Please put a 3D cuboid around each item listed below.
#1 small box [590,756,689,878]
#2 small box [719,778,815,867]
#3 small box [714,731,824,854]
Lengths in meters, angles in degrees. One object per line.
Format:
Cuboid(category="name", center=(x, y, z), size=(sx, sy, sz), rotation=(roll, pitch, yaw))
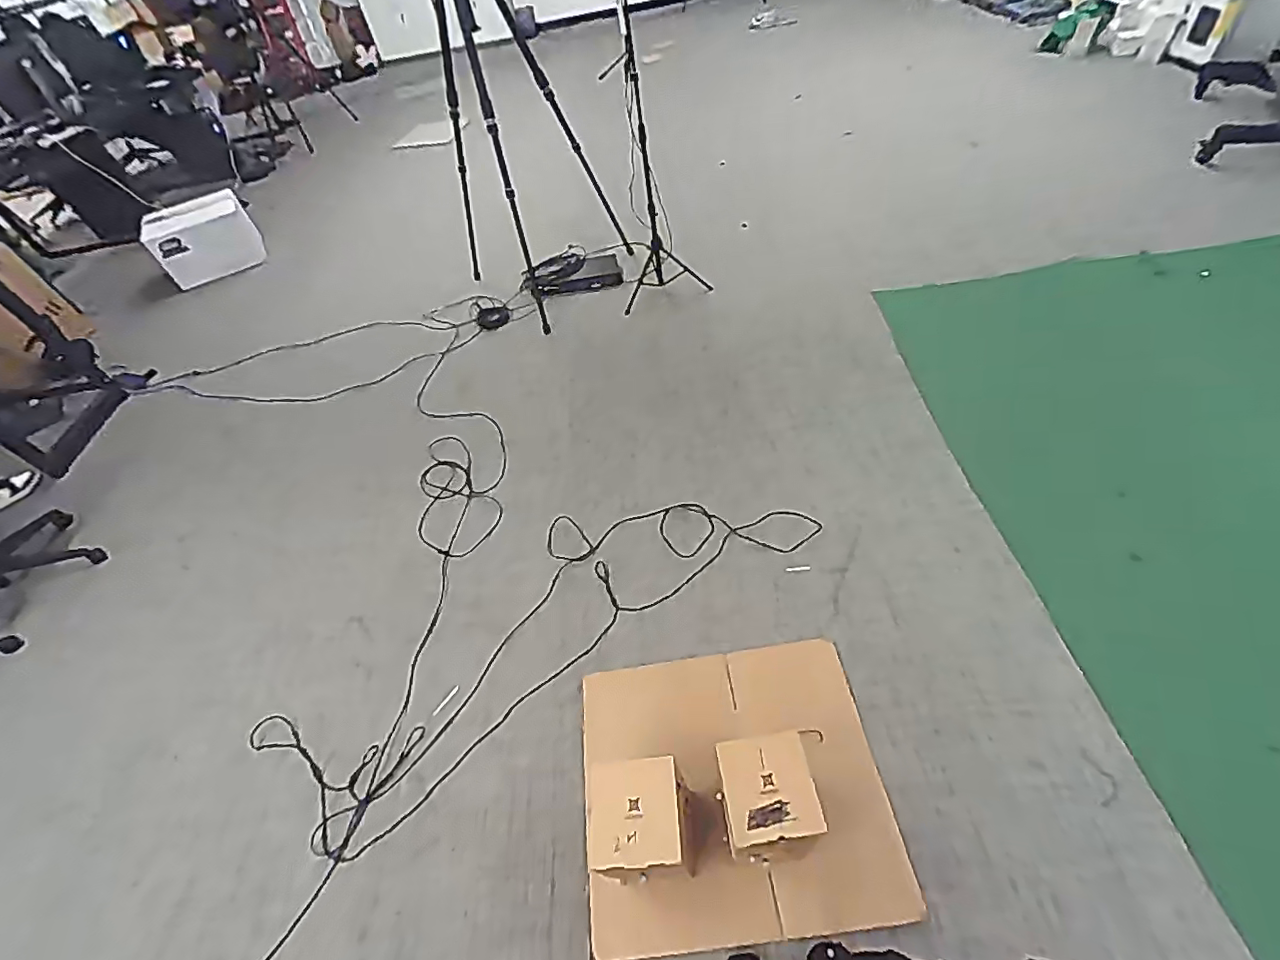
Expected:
Cuboid(category="small box", center=(0.001, 0.661, 1.057), size=(0.168, 0.176, 0.179), rotation=(-8, 50, 5))
Cuboid(category="small box", center=(0.266, 0.720, 1.178), size=(0.168, 0.176, 0.179), rotation=(-10, 50, 2))
Cuboid(category="small box", center=(0.245, 0.614, 1.054), size=(0.168, 0.176, 0.179), rotation=(-10, 49, 1))
